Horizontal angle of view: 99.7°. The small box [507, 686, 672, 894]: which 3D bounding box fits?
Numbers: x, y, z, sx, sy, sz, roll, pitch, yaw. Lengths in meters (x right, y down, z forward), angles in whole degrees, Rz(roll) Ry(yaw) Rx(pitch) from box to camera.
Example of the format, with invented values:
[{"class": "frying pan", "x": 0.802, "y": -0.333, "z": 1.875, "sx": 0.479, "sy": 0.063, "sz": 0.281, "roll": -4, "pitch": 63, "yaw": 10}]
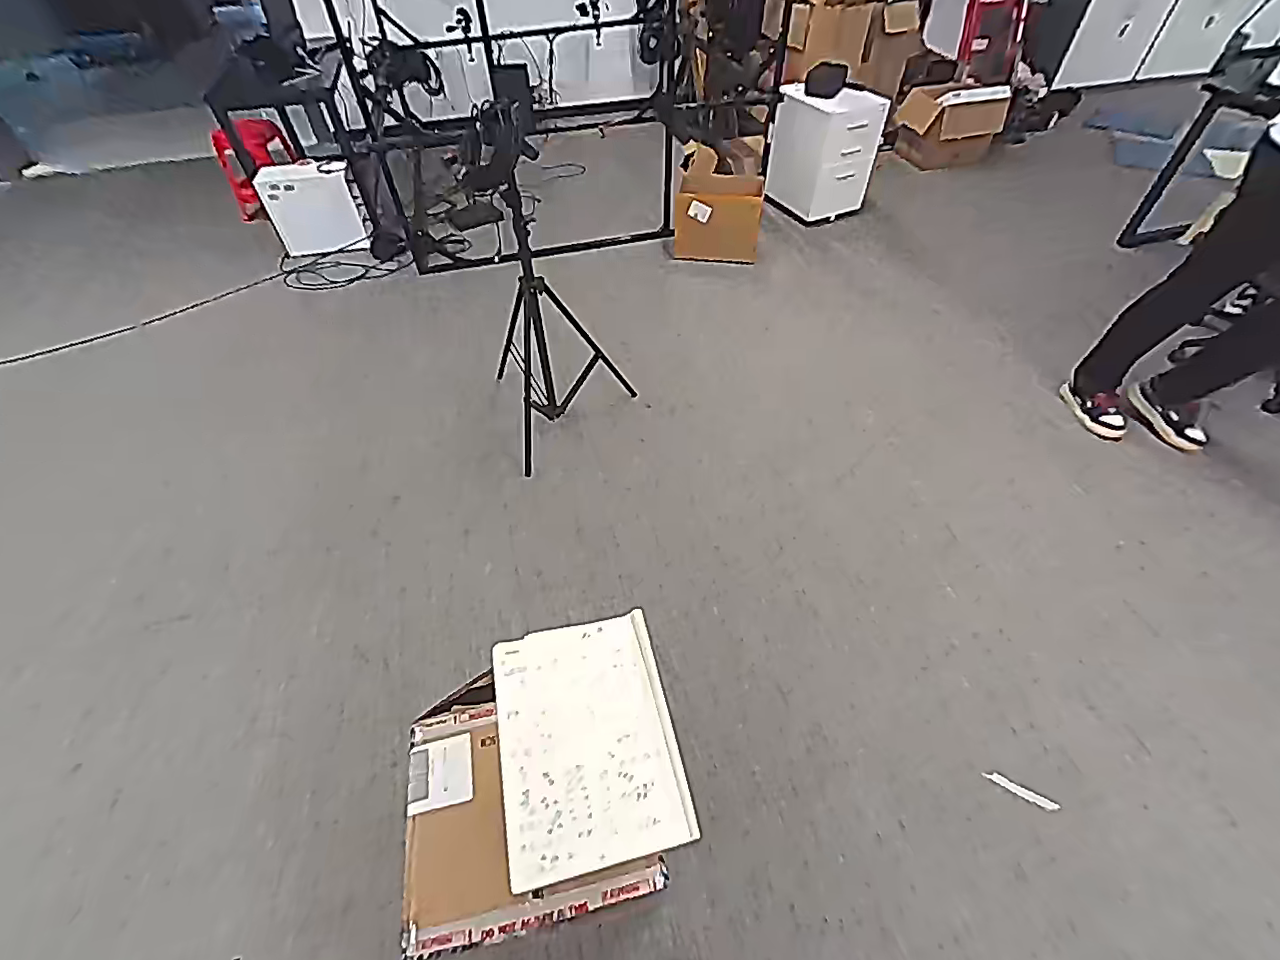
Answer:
[{"class": "small box", "x": -0.067, "y": 0.388, "z": 0.677, "sx": 0.168, "sy": 0.176, "sz": 0.179, "roll": -10, "pitch": 52, "yaw": -10}]
